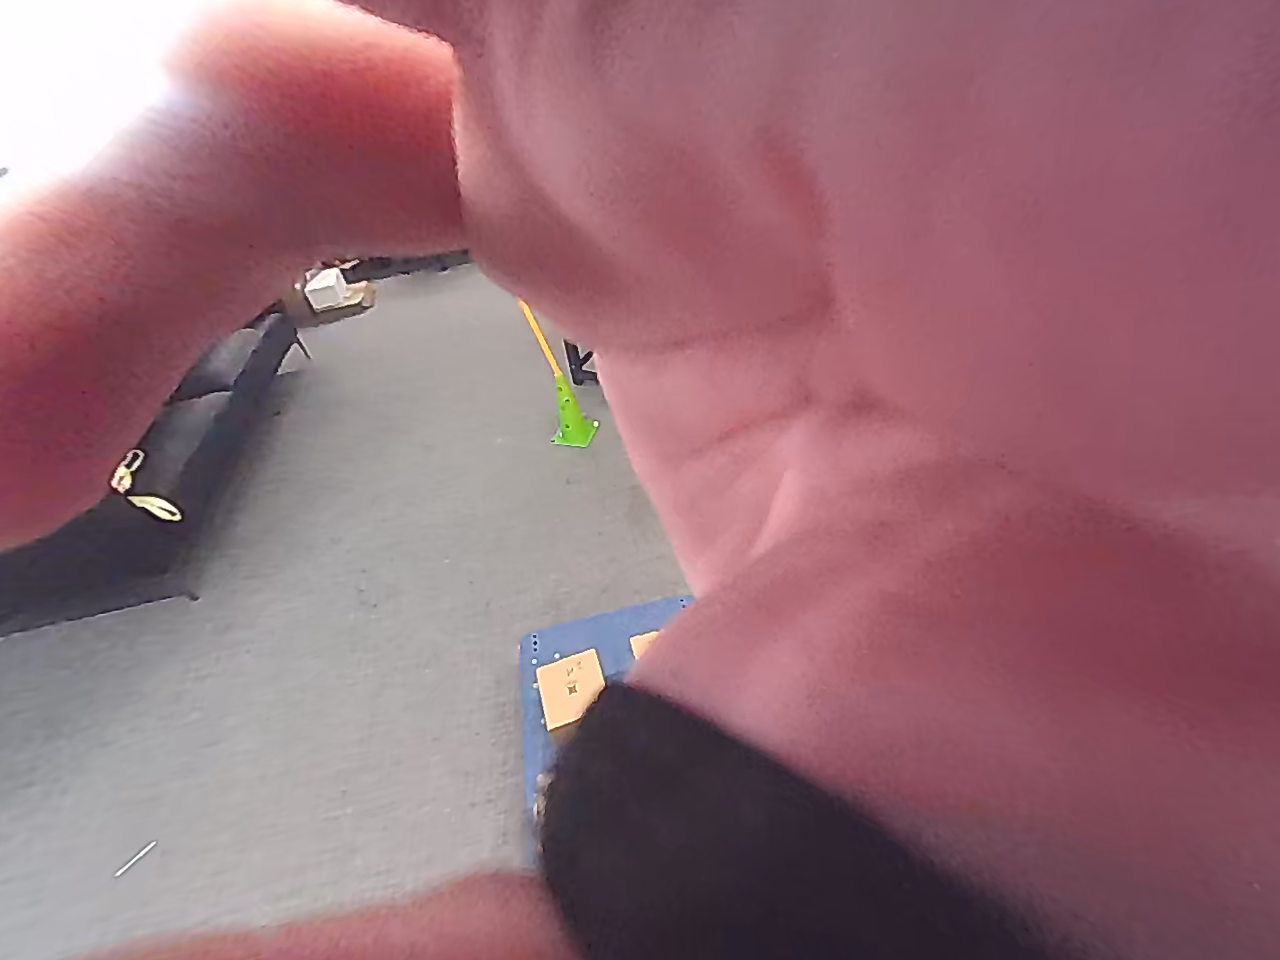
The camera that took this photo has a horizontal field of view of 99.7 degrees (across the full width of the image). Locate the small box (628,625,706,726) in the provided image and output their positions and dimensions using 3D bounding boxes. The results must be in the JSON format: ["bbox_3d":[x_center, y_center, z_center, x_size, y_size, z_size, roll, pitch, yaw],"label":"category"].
[{"bbox_3d":[0.073,0.530,1.462,0.168,0.176,0.179,-16,43,-6],"label":"small box"}]

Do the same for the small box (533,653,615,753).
[{"bbox_3d":[-0.172,0.597,1.432,0.168,0.176,0.179,-16,43,-9],"label":"small box"}]
